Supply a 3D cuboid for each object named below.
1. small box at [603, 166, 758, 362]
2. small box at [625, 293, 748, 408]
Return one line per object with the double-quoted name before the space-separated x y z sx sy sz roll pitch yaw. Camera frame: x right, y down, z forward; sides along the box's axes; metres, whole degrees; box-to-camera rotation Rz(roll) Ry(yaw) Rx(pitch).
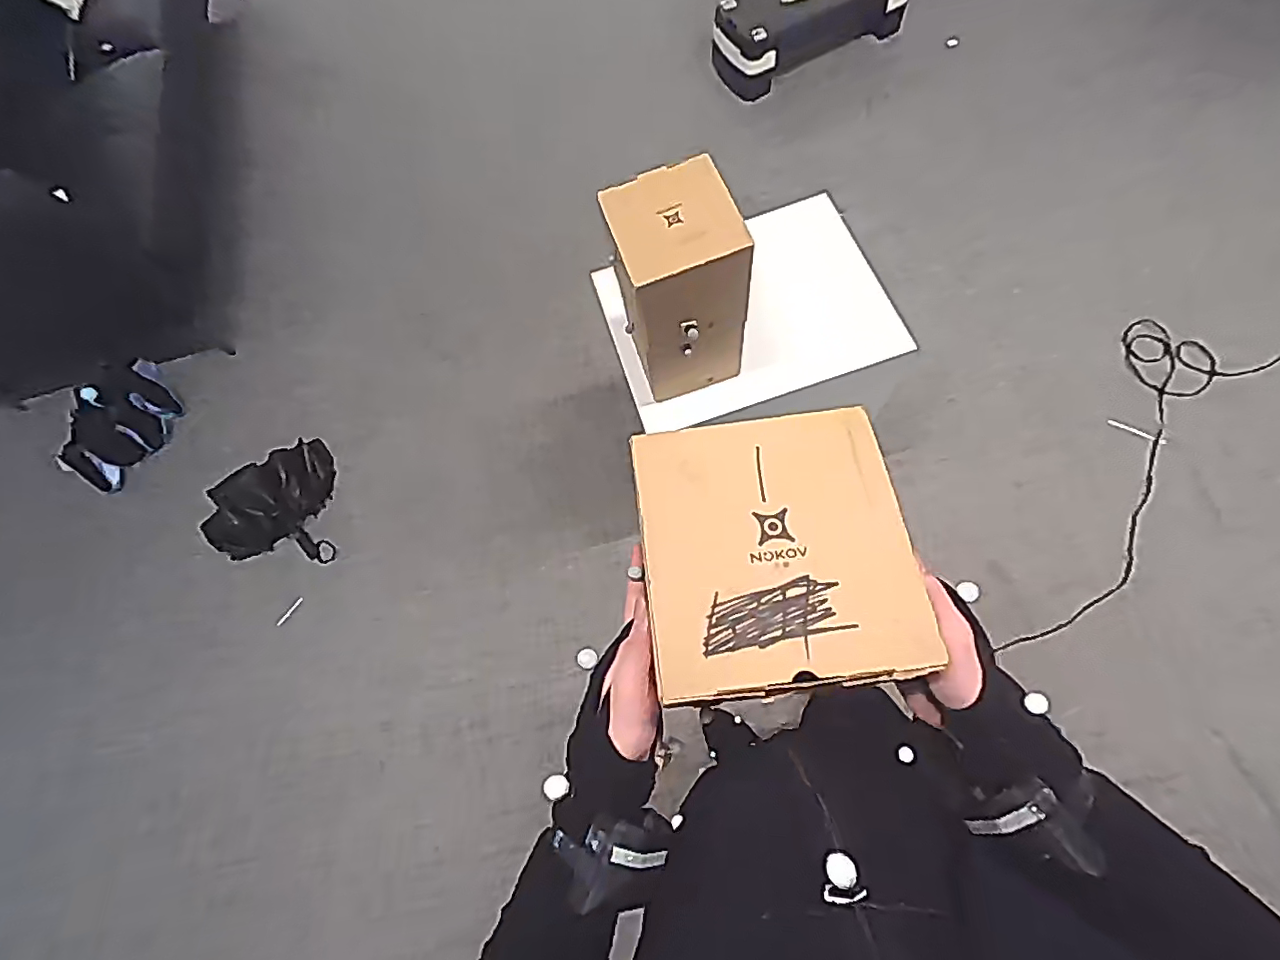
"small box" 0.060 -0.307 0.793 0.168 0.176 0.179 -21 70 2
"small box" 0.078 -0.257 0.946 0.168 0.176 0.179 -19 68 1
